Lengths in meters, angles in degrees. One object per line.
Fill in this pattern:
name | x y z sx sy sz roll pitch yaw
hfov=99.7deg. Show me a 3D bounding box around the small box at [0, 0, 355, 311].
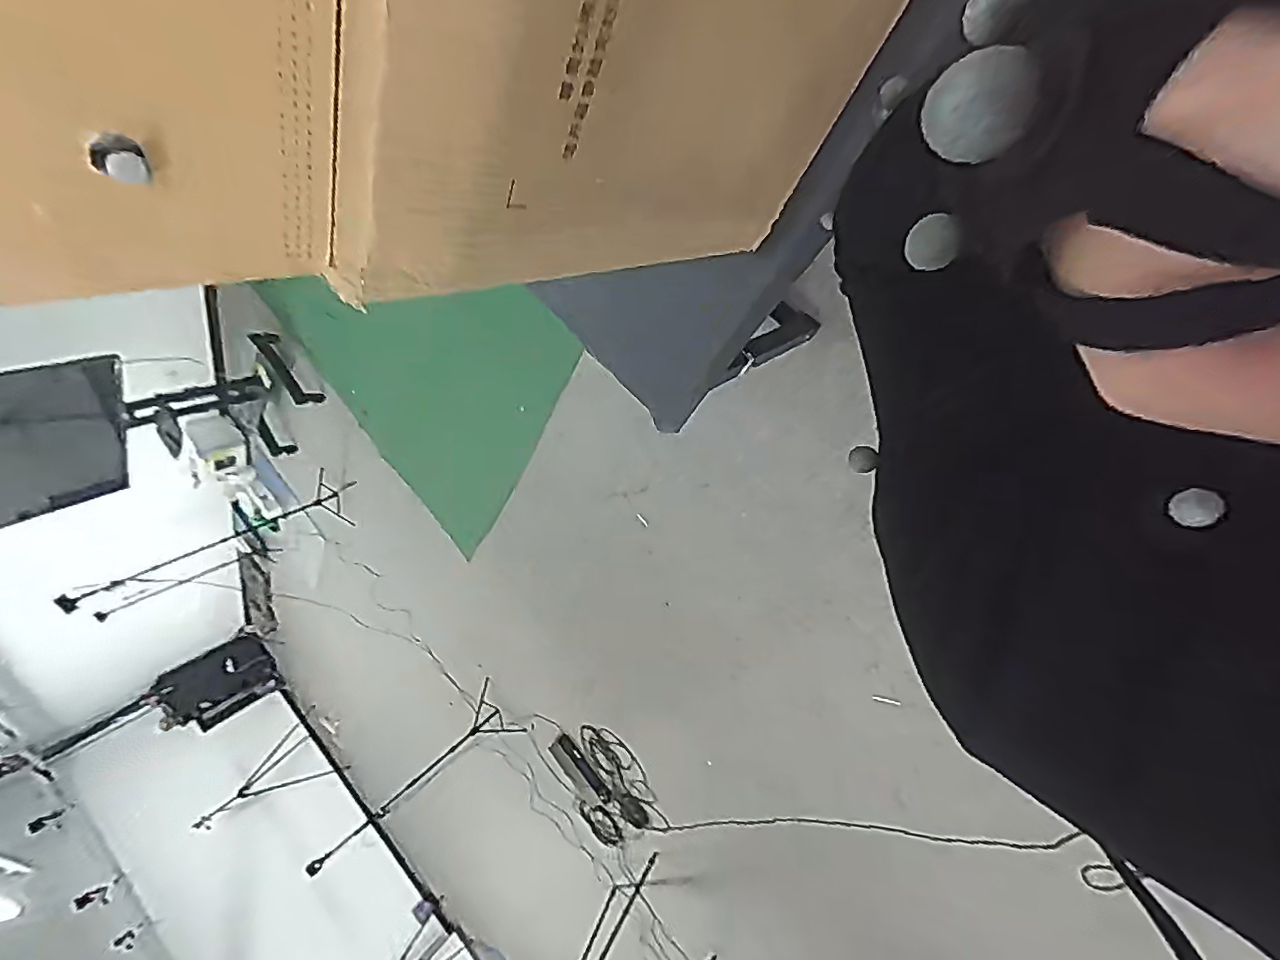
small box | -0.271 -0.220 0.278 0.168 0.176 0.179 44 135 12
